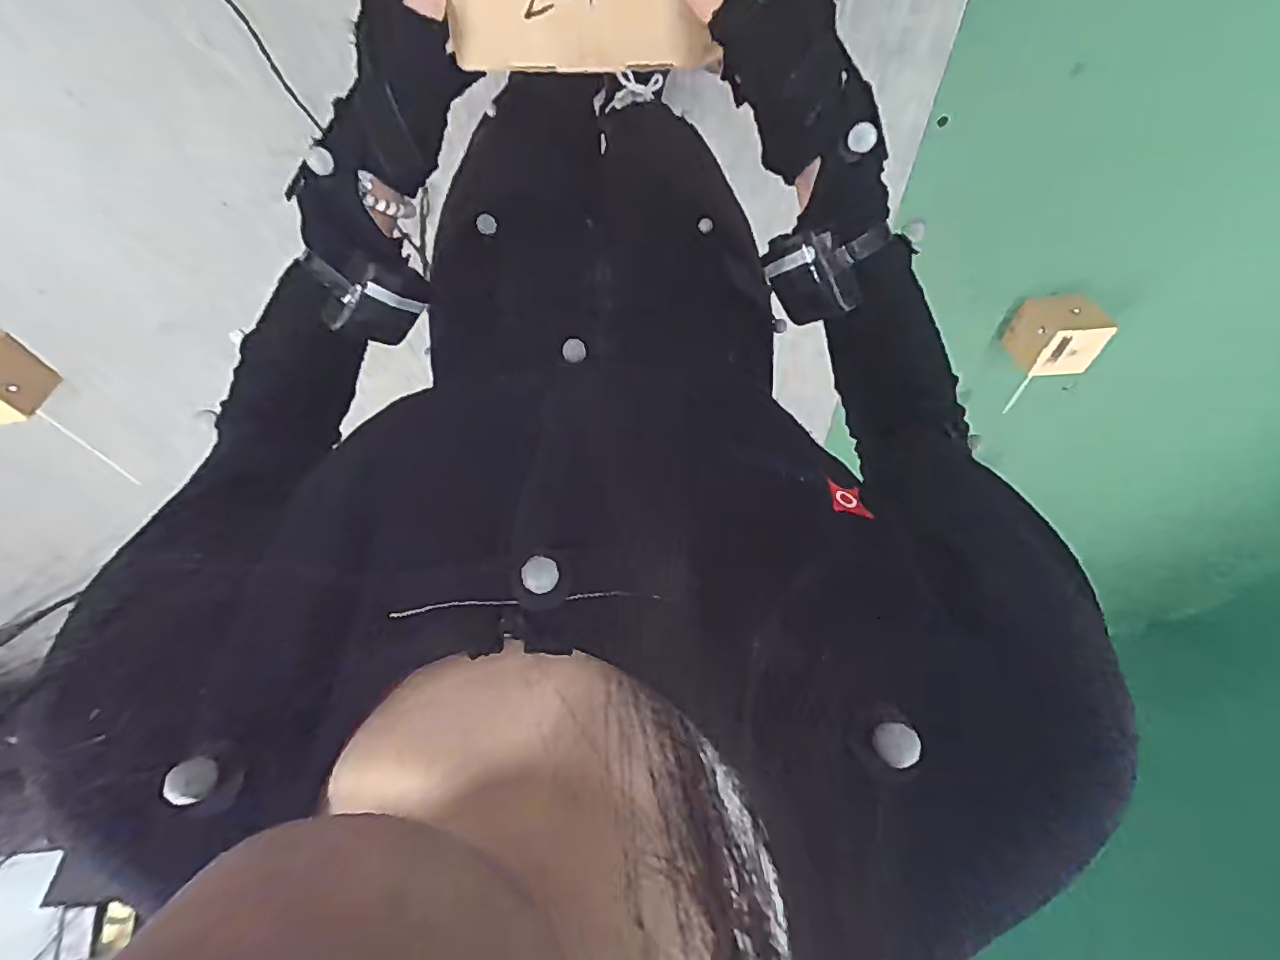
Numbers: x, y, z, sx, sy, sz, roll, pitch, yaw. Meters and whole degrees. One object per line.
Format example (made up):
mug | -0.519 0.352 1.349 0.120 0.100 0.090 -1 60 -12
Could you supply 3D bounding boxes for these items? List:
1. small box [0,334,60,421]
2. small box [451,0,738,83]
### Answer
small box | -1.734 -0.274 1.433 0.168 0.176 0.179 -7 145 1
small box | -0.030 -0.363 0.322 0.168 0.176 0.179 -3 139 -2
